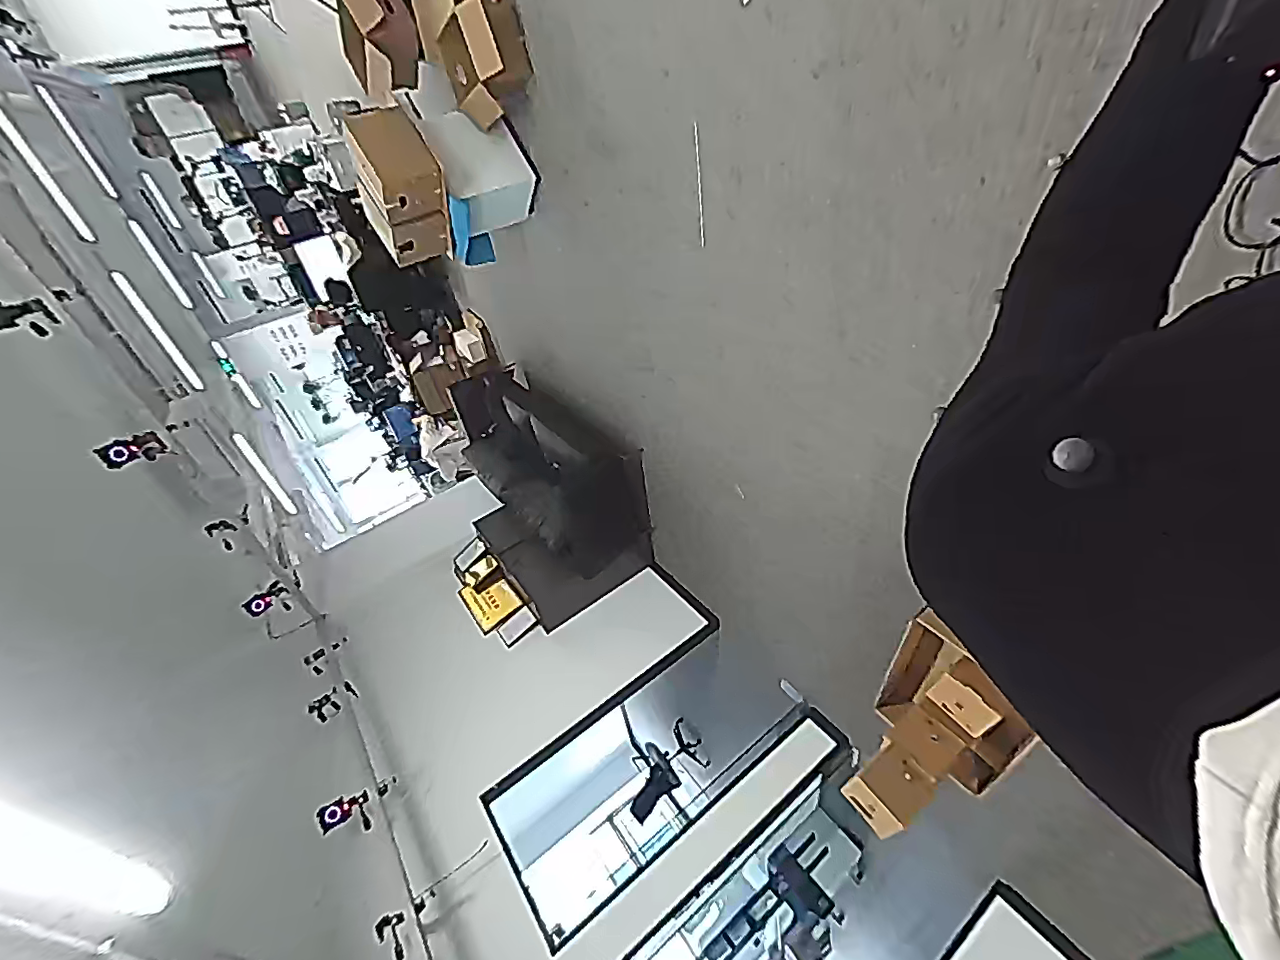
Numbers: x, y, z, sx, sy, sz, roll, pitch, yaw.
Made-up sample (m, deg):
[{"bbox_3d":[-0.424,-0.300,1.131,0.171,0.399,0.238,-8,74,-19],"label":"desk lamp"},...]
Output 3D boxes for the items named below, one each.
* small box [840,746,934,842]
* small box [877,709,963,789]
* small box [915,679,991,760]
[{"bbox_3d":[0.740,0.937,1.618,0.168,0.176,0.179,45,150,32],"label":"small box"},{"bbox_3d":[0.868,0.859,1.686,0.168,0.176,0.179,39,147,40],"label":"small box"},{"bbox_3d":[0.997,0.789,1.755,0.168,0.176,0.179,38,147,39],"label":"small box"}]
